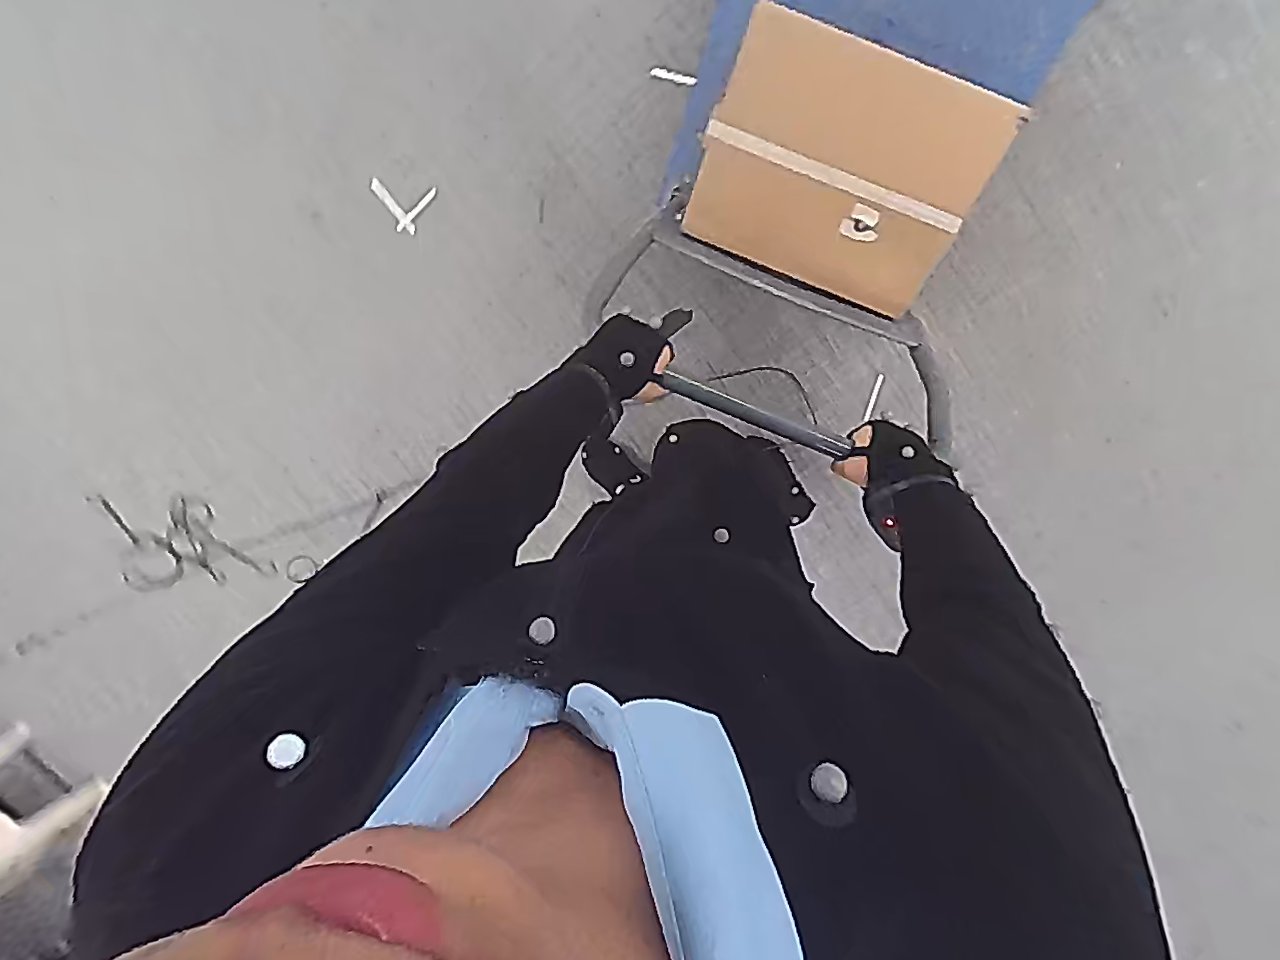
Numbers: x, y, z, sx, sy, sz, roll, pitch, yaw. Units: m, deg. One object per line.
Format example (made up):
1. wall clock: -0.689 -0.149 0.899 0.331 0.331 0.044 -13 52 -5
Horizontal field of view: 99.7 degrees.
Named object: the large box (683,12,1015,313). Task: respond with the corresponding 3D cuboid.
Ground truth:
1. large box: 0.329 -0.550 0.966 0.408 0.320 0.320 22 125 -1
